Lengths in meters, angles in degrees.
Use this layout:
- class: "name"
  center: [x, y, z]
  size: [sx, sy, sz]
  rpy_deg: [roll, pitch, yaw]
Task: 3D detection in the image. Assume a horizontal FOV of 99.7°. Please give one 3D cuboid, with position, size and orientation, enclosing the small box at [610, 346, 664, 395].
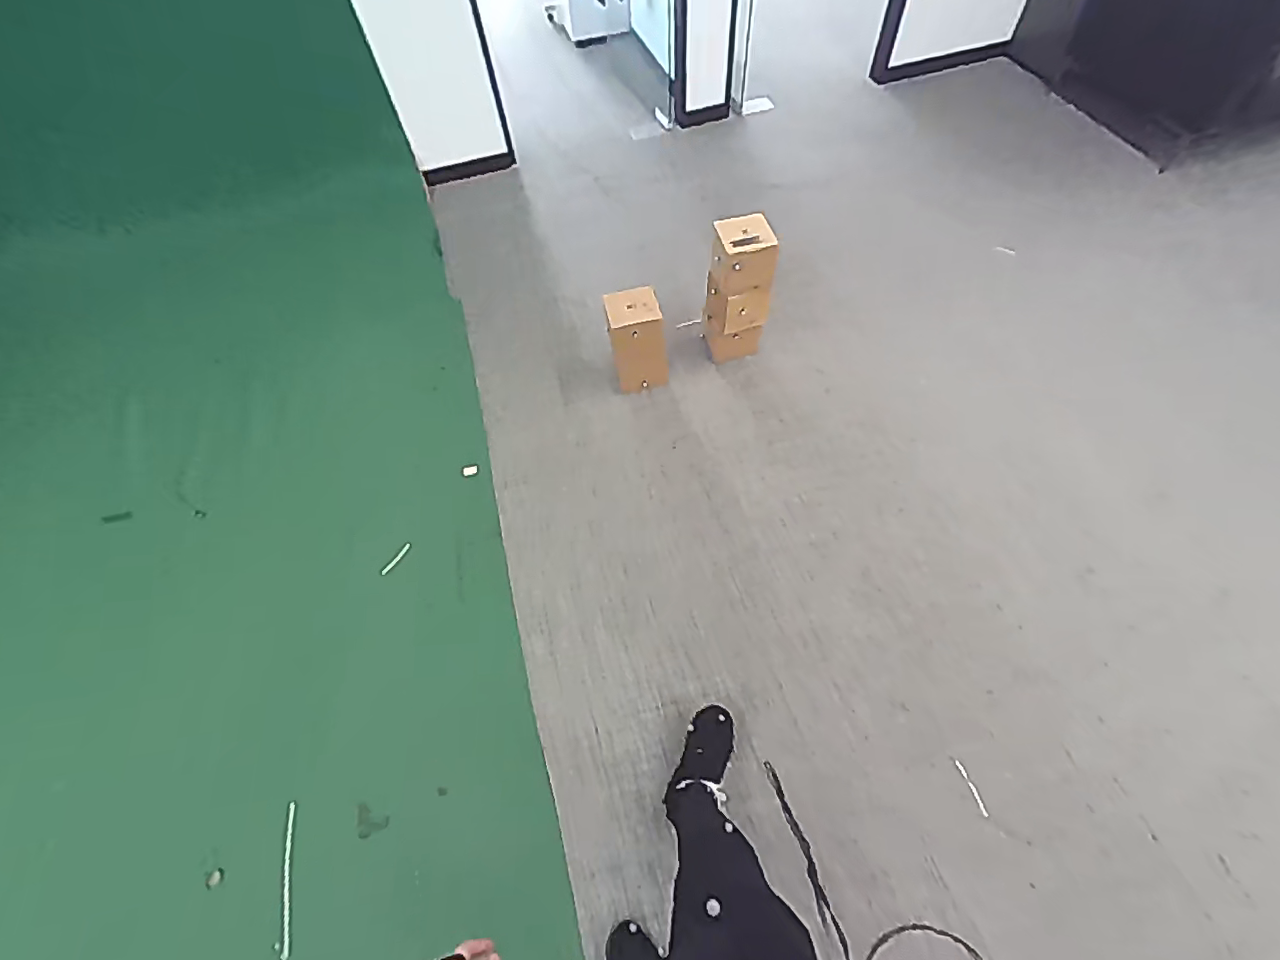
- class: "small box"
  center: [-0.014, -0.439, 1.998]
  size: [0.179, 0.176, 0.168]
  rpy_deg: [-13, 59, -4]

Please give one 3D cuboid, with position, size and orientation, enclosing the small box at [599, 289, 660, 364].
- class: "small box"
  center: [-0.032, -0.523, 1.856]
  size: [0.179, 0.176, 0.168]
  rpy_deg: [-13, 59, -4]

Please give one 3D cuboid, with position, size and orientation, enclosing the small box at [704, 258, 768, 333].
- class: "small box"
  center: [0.333, -0.641, 1.905]
  size: [0.168, 0.176, 0.179]
  rpy_deg: [-19, 59, -7]

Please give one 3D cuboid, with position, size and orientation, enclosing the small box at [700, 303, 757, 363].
- class: "small box"
  center: [0.333, -0.569, 2.050]
  size: [0.179, 0.176, 0.168]
  rpy_deg: [-15, 59, -6]
